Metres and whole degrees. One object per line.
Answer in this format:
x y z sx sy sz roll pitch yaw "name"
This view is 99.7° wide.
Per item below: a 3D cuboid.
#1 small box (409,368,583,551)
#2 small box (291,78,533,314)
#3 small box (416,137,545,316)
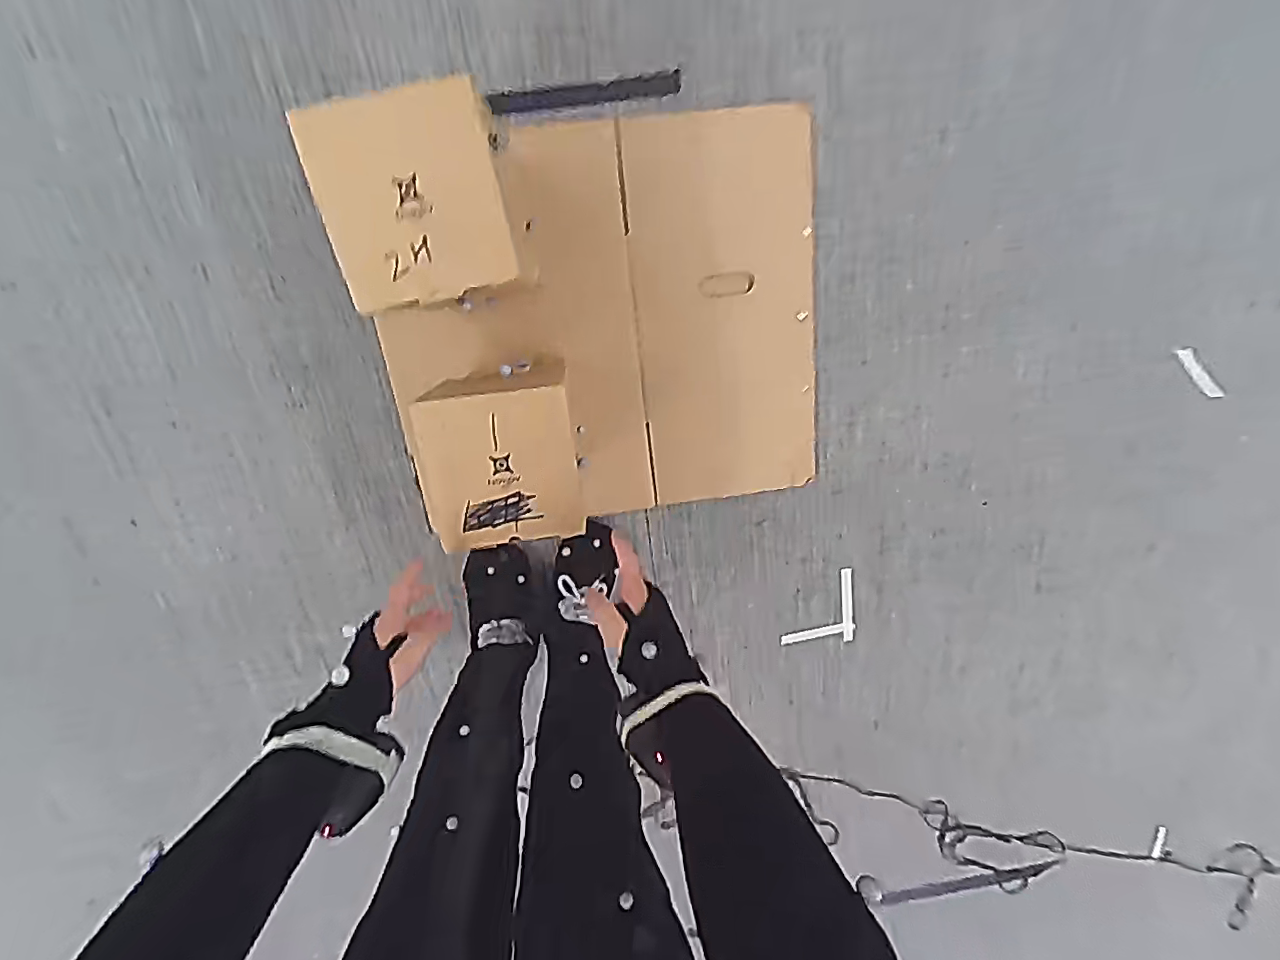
-0.161 -0.034 0.669 0.168 0.176 0.179 -8 109 -4 "small box"
-0.220 -0.283 0.578 0.168 0.176 0.179 -13 109 -1 "small box"
-0.233 -0.334 0.734 0.168 0.176 0.179 -15 110 -1 "small box"
